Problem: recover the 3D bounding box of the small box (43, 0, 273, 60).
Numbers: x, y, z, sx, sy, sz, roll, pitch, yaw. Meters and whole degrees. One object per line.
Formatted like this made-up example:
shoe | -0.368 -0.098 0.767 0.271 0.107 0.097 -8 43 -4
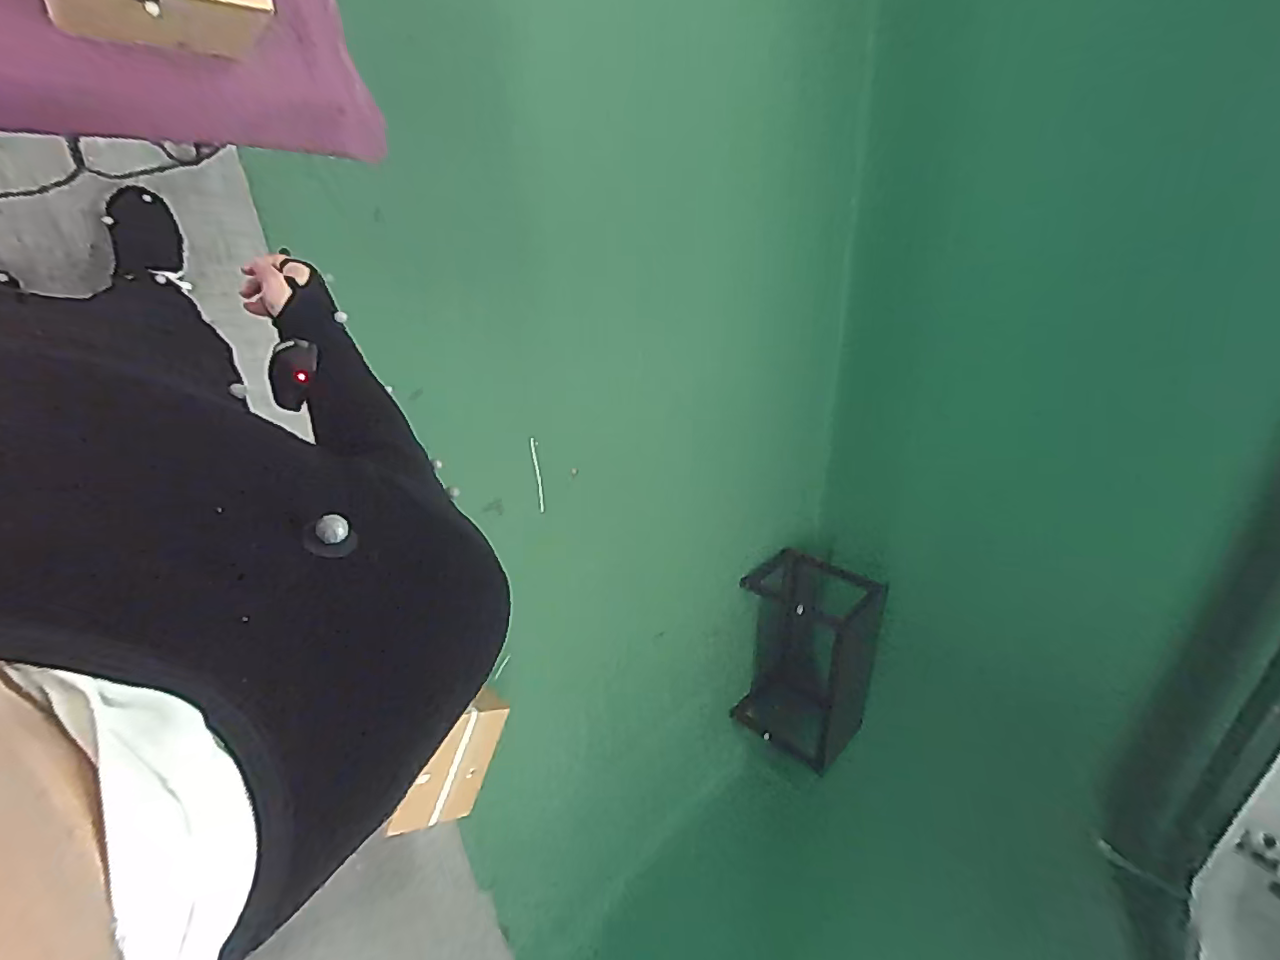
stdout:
small box | -0.491 -0.544 0.518 0.168 0.176 0.179 -25 121 -39
